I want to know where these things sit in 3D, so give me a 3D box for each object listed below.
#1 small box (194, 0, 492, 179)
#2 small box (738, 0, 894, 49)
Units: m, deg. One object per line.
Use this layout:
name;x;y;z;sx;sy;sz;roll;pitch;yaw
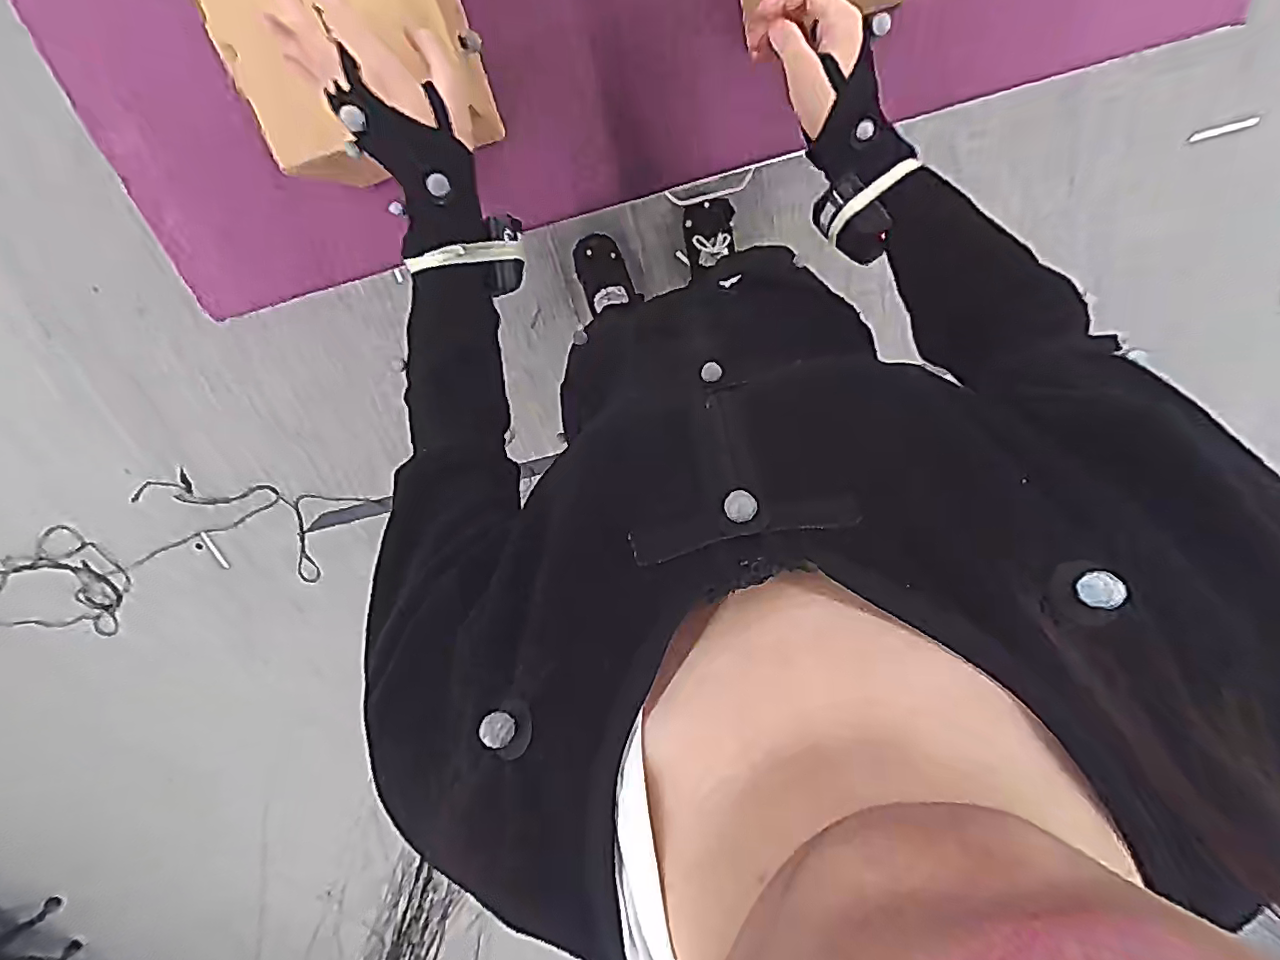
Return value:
small box;-0.248;-0.390;0.489;0.179;0.176;0.168;-16;115;5
small box;0.169;-0.509;0.451;0.168;0.176;0.179;-16;116;4
